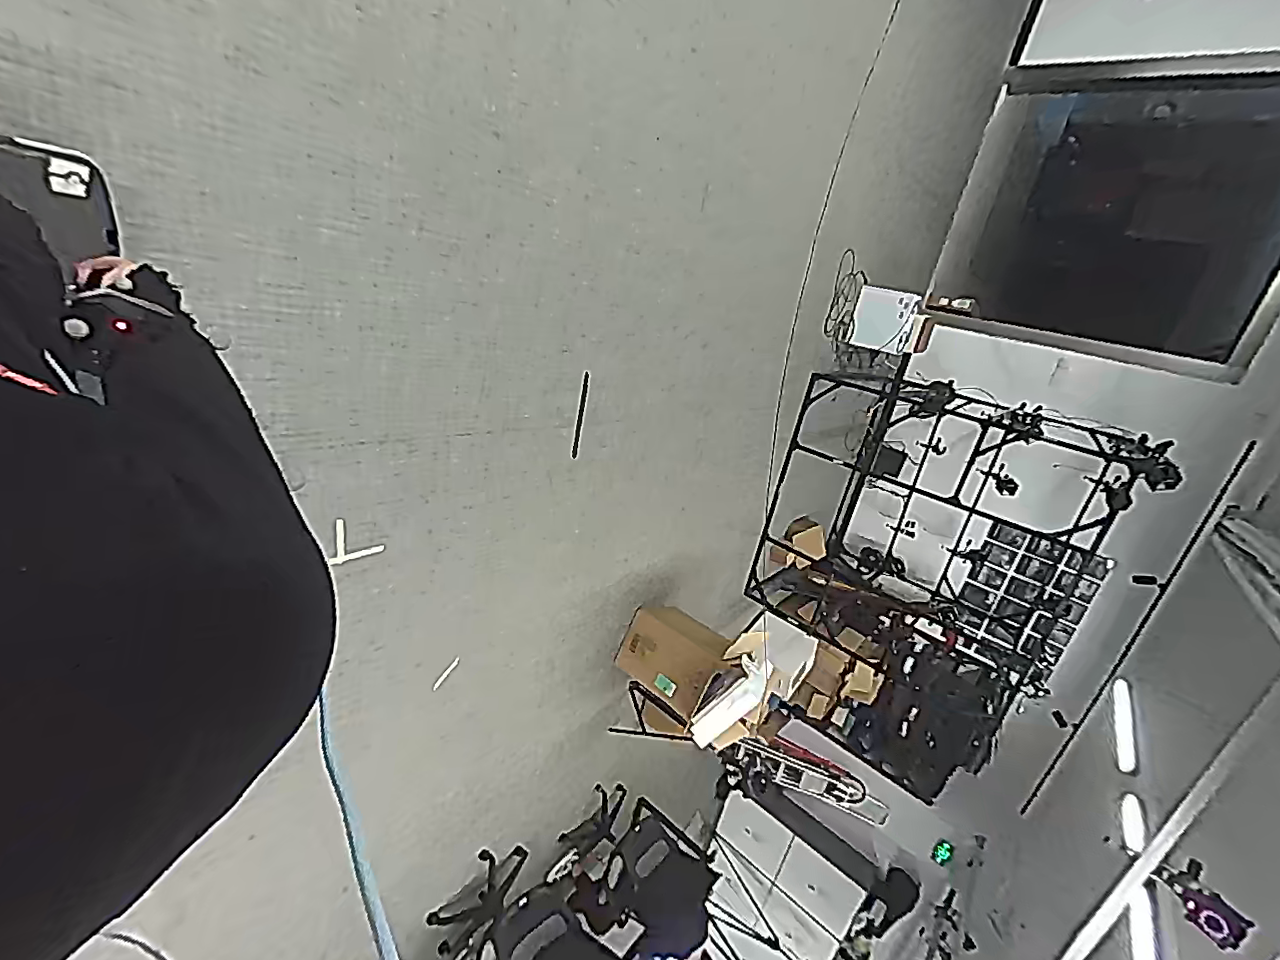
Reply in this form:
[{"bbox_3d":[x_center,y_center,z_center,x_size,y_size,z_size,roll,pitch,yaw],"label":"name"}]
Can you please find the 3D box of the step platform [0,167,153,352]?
[{"bbox_3d":[-1.191,-0.382,0.811,0.684,0.204,0.286,-6,115,-53],"label":"step platform"}]
